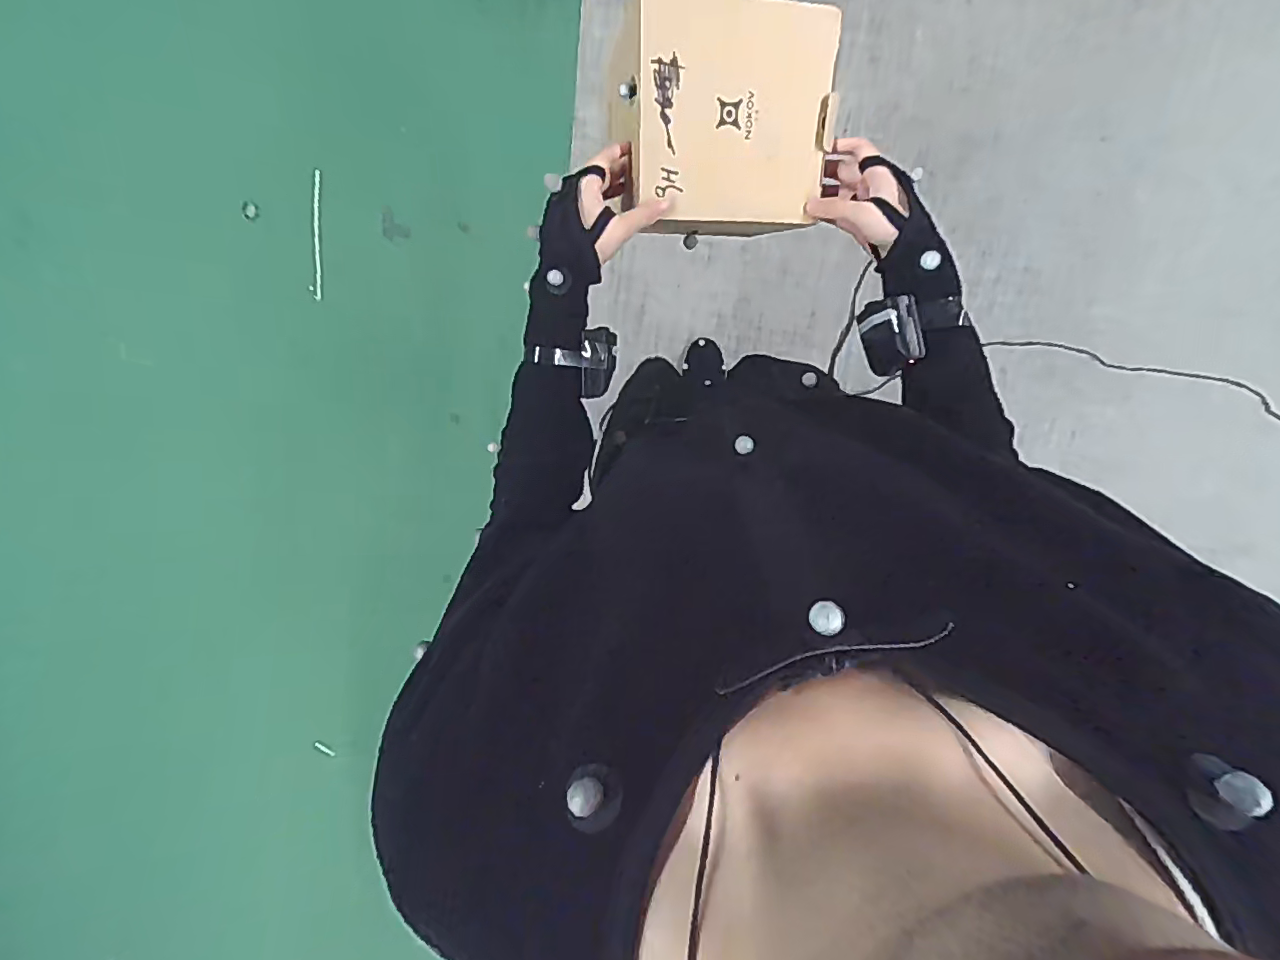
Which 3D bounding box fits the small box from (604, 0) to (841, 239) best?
[{"bbox_3d":[0.065,-0.336,0.534,0.179,0.176,0.168,-4,110,-12],"label":"small box"}]
